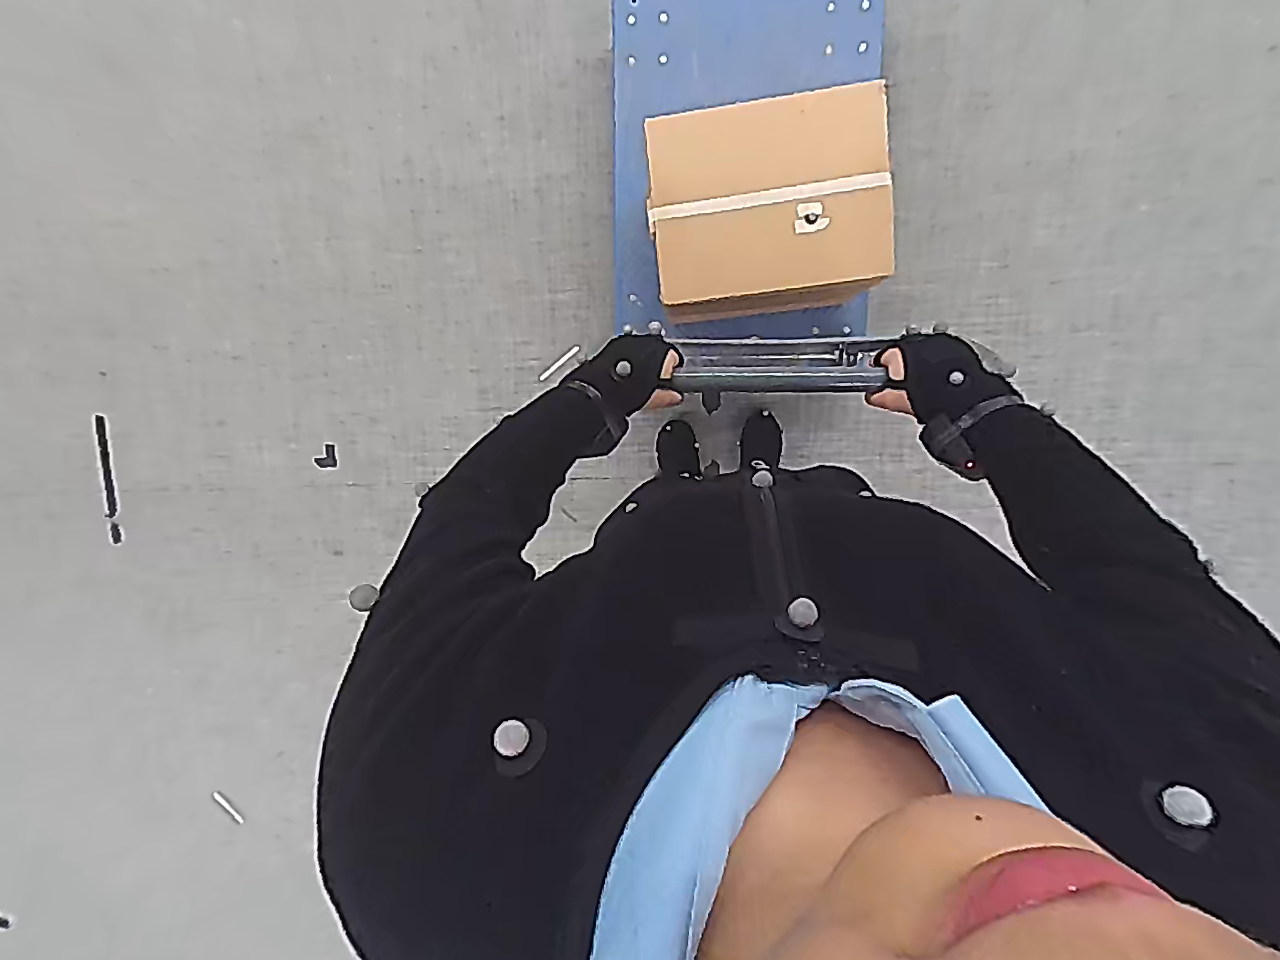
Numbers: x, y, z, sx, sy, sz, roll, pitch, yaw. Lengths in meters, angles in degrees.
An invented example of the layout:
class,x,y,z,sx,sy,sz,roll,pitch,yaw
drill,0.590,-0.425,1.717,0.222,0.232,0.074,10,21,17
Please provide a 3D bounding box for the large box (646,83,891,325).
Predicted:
class,x,y,z,sx,sy,sz,roll,pitch,yaw
large box,0.235,-0.516,1.092,0.408,0.320,0.320,-6,99,5
